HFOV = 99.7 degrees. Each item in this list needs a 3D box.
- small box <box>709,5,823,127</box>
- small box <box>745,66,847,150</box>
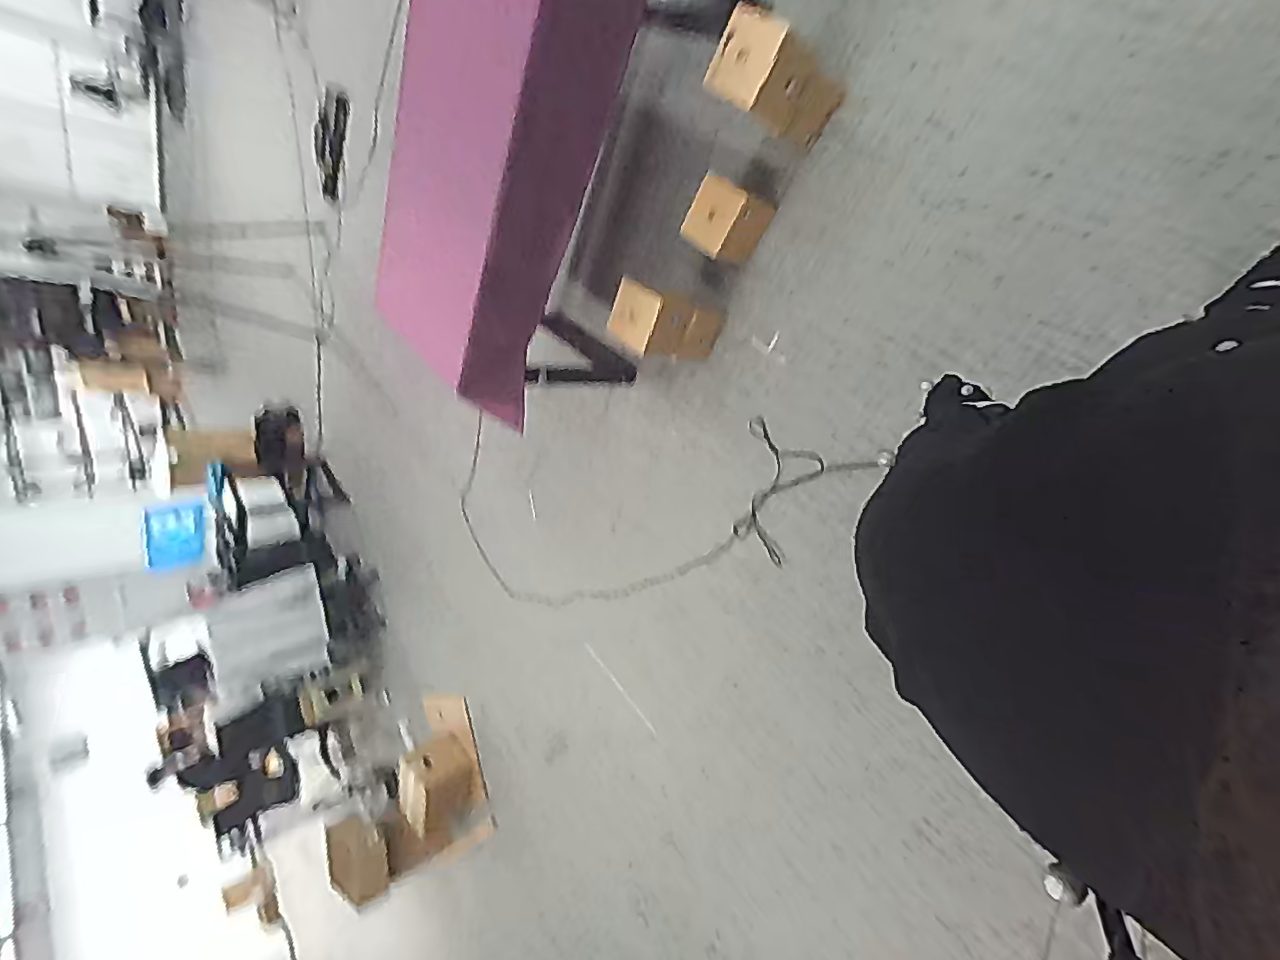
[{"bbox_3d":[0.309,-0.994,1.314,0.179,0.176,0.168,48,125,25],"label":"small box"},{"bbox_3d":[0.415,-1.014,1.439,0.179,0.176,0.168,53,127,24],"label":"small box"}]
